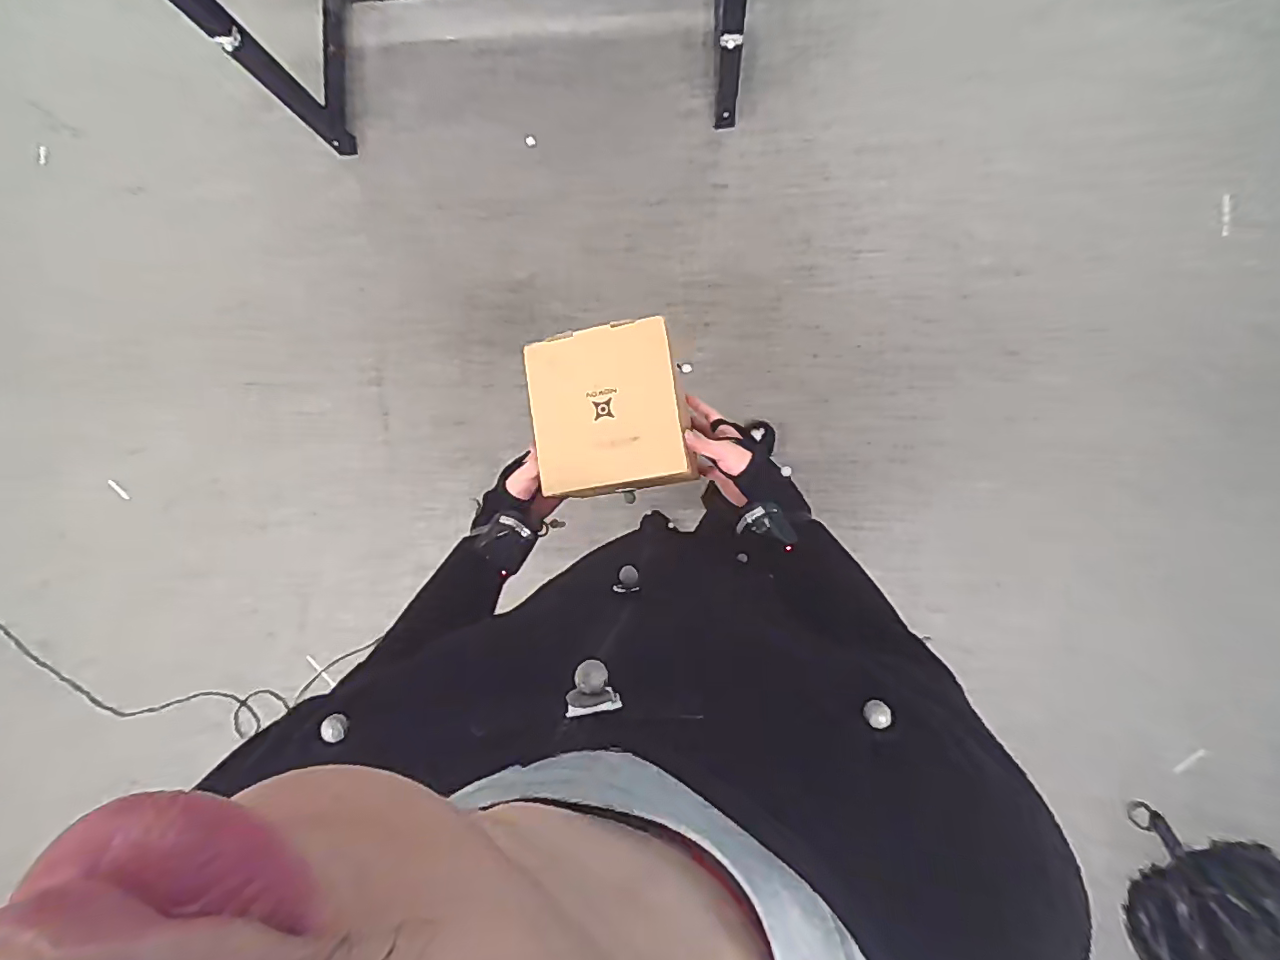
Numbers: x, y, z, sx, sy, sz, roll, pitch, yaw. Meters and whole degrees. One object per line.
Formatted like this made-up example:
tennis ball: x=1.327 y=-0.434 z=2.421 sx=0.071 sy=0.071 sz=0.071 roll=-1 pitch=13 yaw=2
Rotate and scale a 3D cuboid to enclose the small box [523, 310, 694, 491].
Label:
small box: x=-0.029 y=-0.085 z=0.672 sx=0.168 sy=0.176 sz=0.179 roll=-9 pitch=85 yaw=10
